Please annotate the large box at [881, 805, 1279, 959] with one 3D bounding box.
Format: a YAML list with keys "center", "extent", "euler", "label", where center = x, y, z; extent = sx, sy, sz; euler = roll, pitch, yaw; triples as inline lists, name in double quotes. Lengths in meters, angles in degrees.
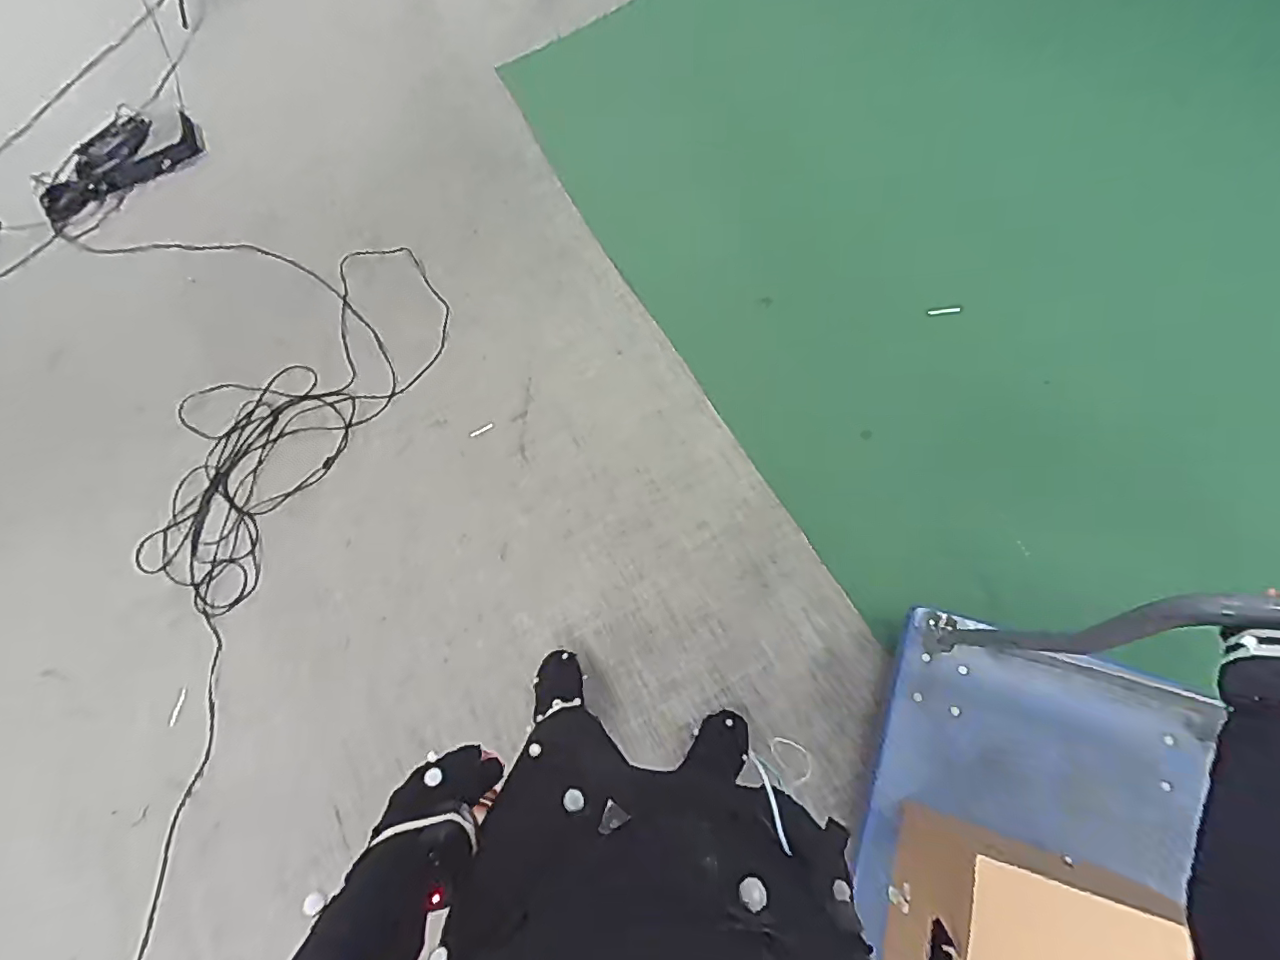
- center: [0.613, 0.732, 0.789]
  extent: [0.408, 0.320, 0.320]
  euler: [14, 74, 11]
  label: "large box"
